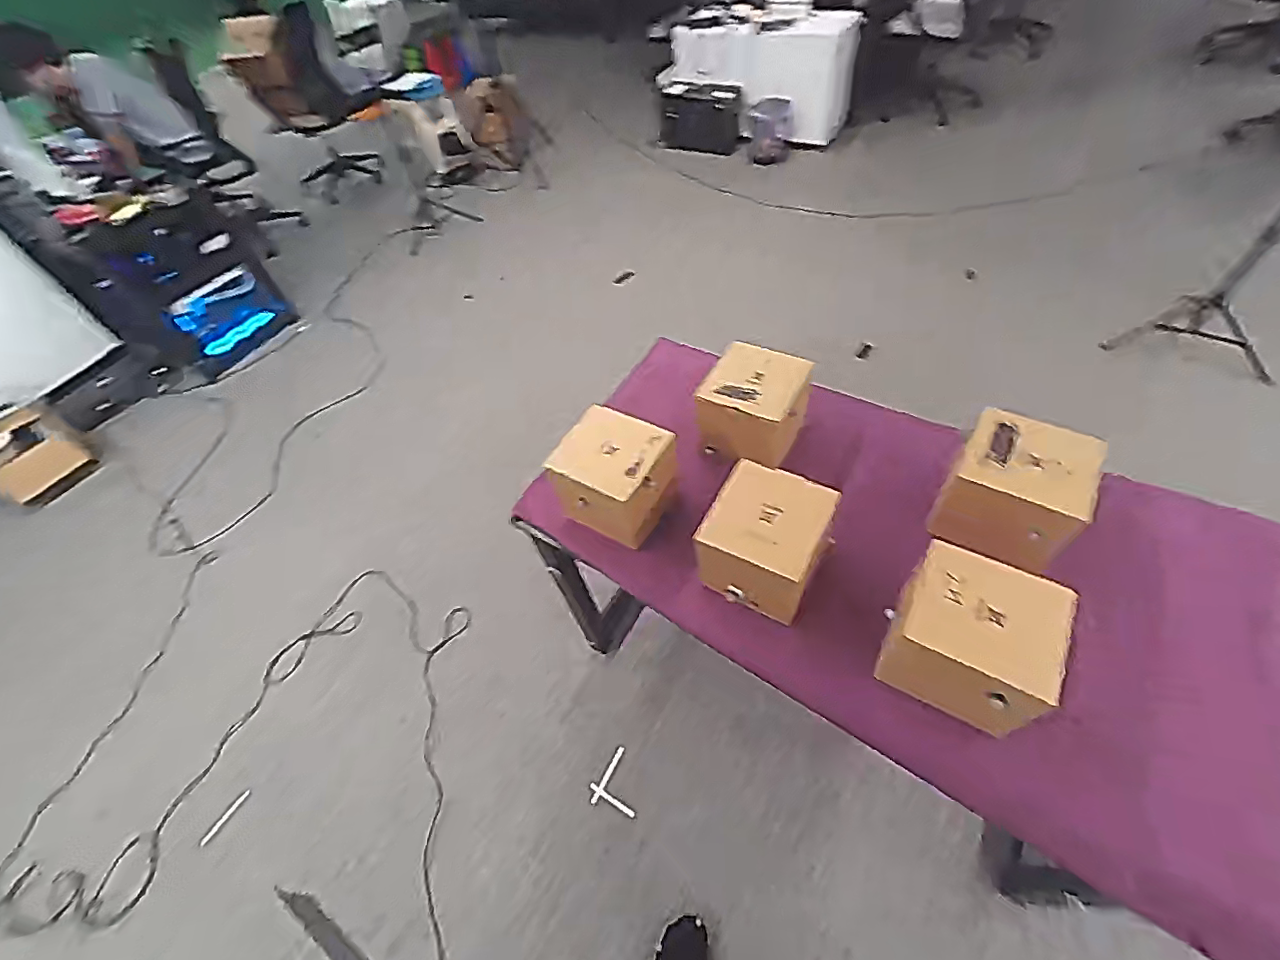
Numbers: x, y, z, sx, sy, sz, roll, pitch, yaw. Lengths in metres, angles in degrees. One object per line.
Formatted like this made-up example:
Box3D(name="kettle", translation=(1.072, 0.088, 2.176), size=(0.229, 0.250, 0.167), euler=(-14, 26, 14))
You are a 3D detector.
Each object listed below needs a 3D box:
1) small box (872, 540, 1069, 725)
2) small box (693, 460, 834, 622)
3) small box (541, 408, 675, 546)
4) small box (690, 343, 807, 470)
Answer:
Box3D(name="small box", translation=(0.453, 0.220, 0.762), size=(0.179, 0.176, 0.168), euler=(22, 59, 24))
Box3D(name="small box", translation=(0.201, 0.103, 0.896), size=(0.168, 0.176, 0.179), euler=(22, 61, 24))
Box3D(name="small box", translation=(-0.051, -0.002, 1.012), size=(0.179, 0.176, 0.168), euler=(23, 60, 24))
Box3D(name="small box", translation=(0.216, -0.137, 1.074), size=(0.168, 0.176, 0.179), euler=(22, 60, 23))
